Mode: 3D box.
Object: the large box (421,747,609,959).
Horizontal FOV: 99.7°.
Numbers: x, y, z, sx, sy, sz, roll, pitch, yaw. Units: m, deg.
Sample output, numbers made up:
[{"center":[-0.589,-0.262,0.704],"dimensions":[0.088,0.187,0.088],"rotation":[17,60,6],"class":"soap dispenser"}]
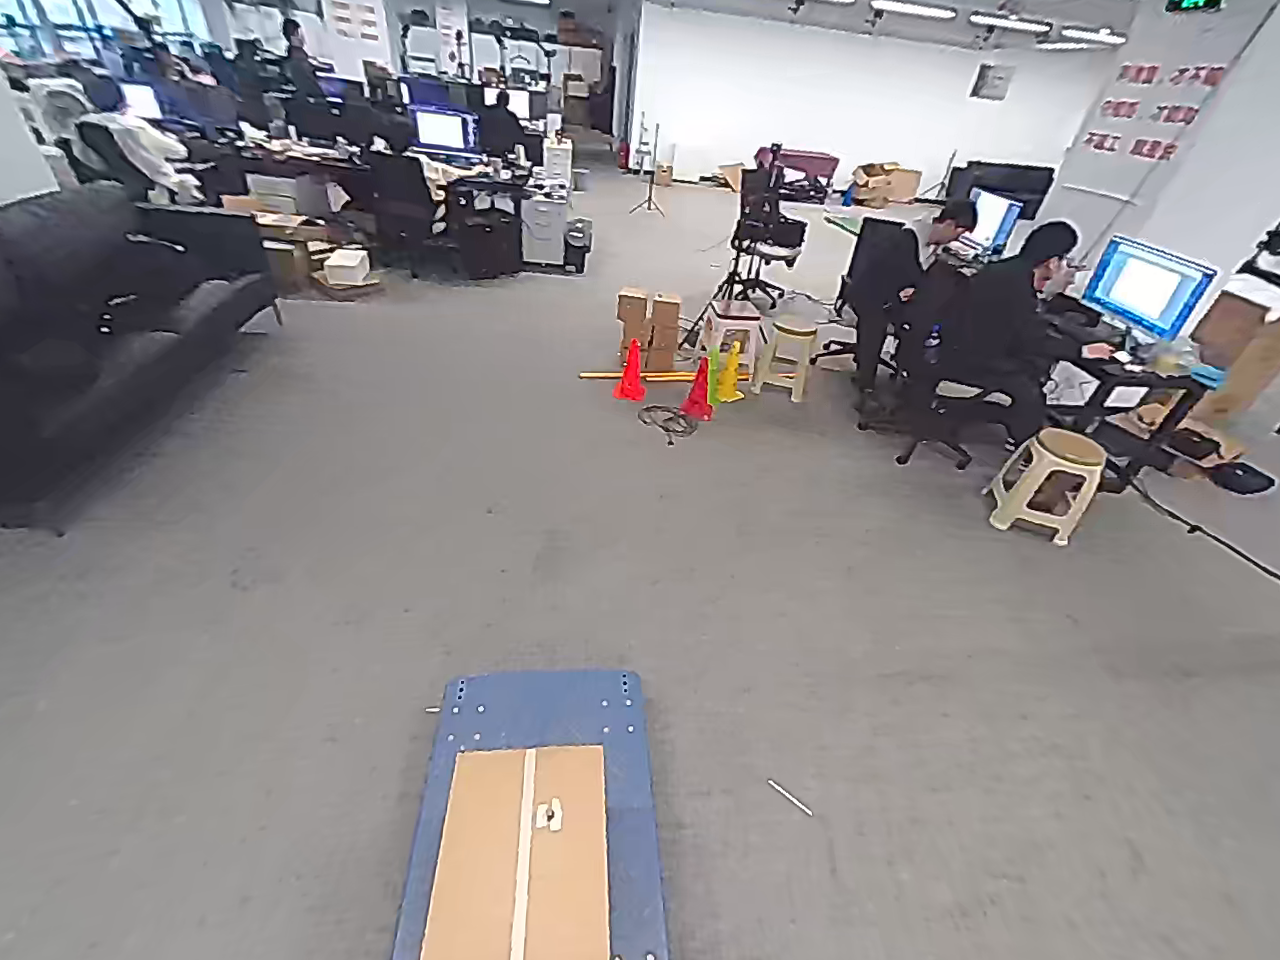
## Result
[{"center":[-0.234,0.827,1.105],"dimensions":[0.320,0.320,0.408],"rotation":[1,36,-7],"class":"large box"}]
